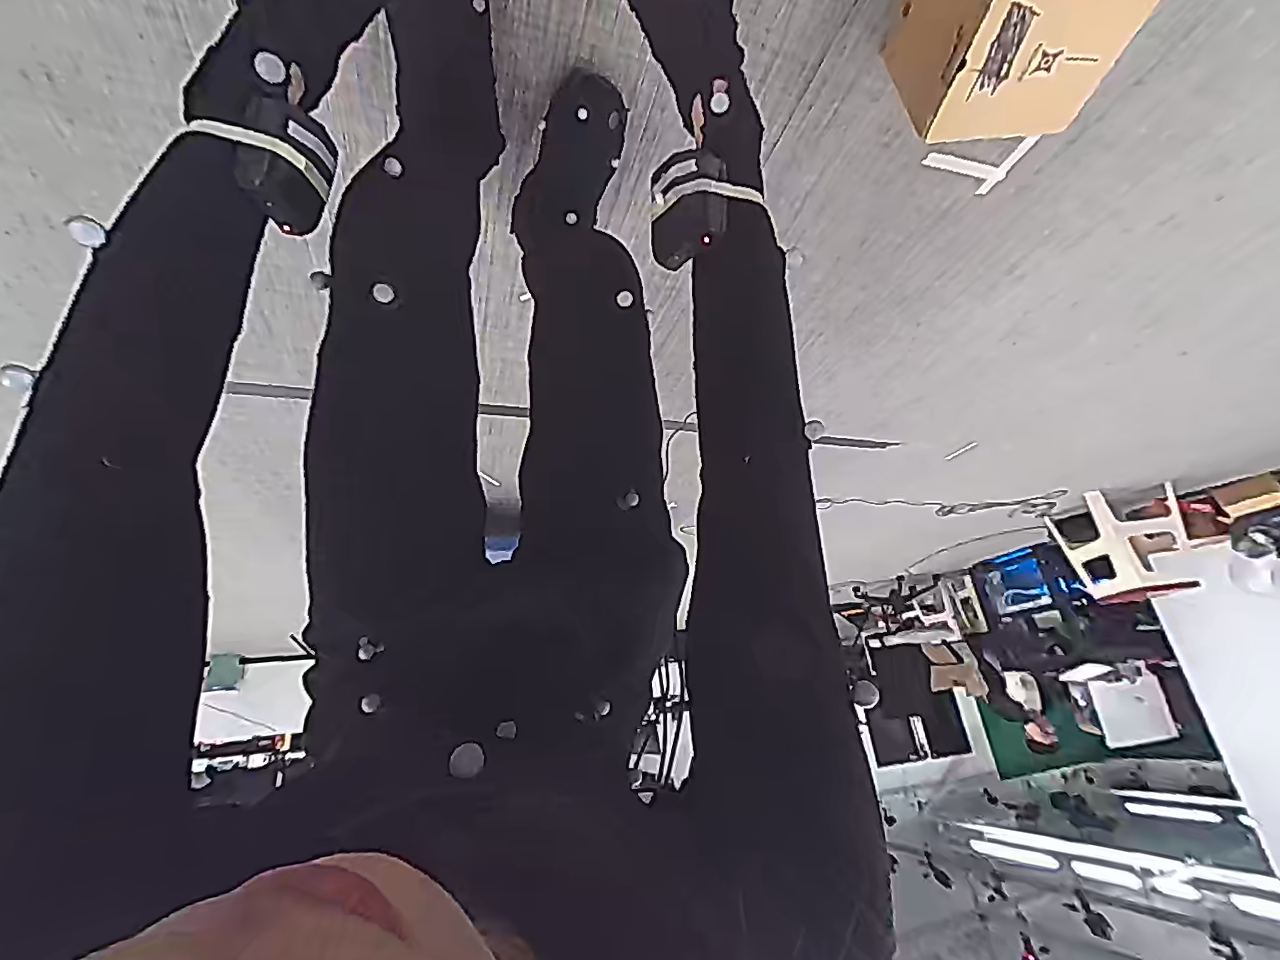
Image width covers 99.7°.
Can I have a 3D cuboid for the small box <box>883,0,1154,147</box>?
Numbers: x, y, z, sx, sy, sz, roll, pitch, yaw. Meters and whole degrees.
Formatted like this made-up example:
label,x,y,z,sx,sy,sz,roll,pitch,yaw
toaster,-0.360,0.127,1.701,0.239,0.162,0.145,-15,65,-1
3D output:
label,x,y,z,sx,sy,sz,roll,pitch,yaw
small box,0.400,-0.504,0.598,0.179,0.176,0.168,-5,157,-3
